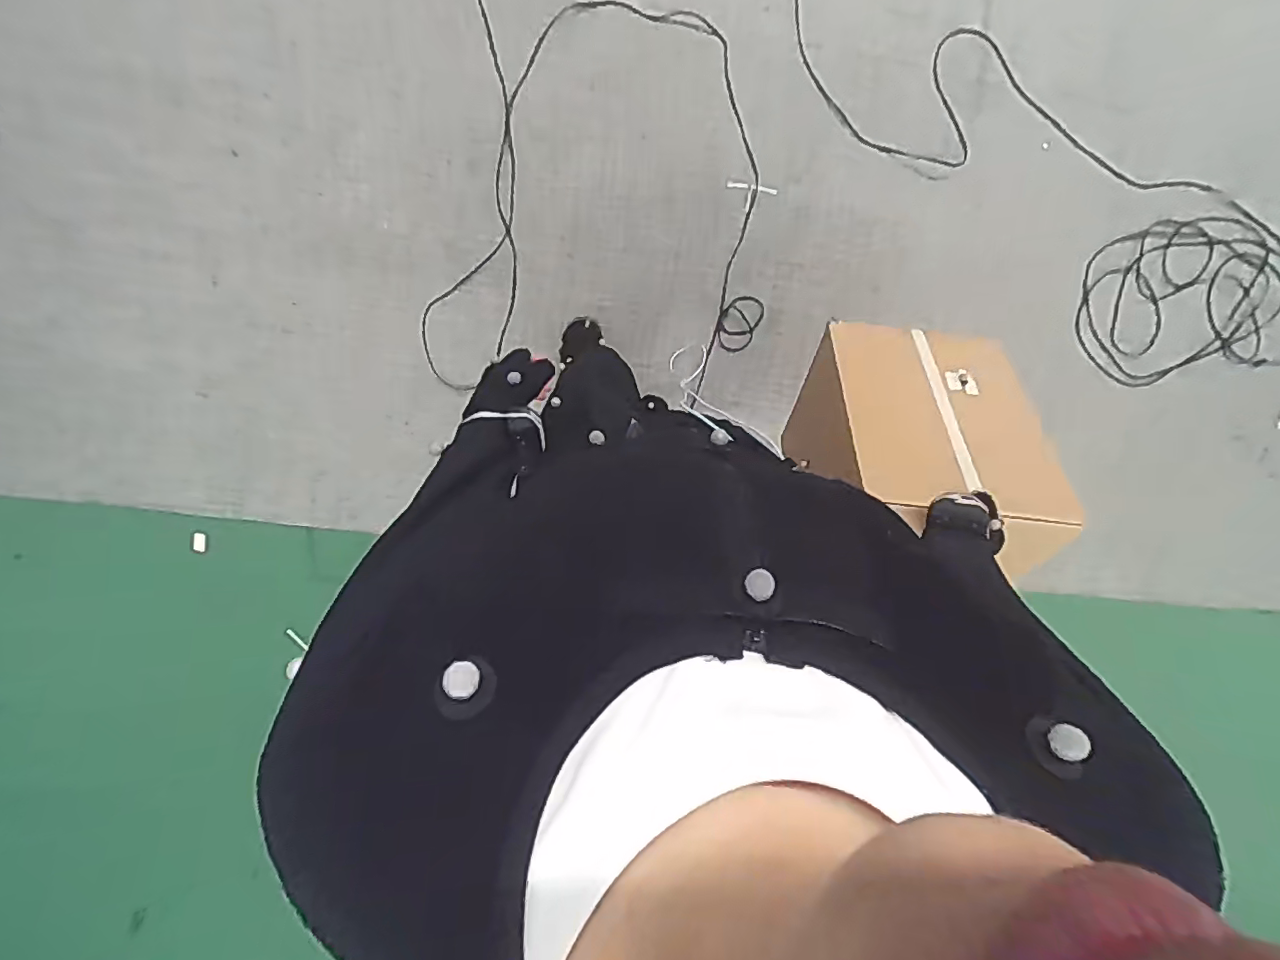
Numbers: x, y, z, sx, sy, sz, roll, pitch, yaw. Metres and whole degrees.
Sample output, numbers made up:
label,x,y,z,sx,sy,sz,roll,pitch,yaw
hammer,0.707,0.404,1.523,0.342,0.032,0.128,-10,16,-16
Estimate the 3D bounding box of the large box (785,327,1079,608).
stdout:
label,x,y,z,sx,sy,sz,roll,pitch,yaw
large box,0.468,-0.019,0.987,0.320,0.408,0.320,7,143,0
